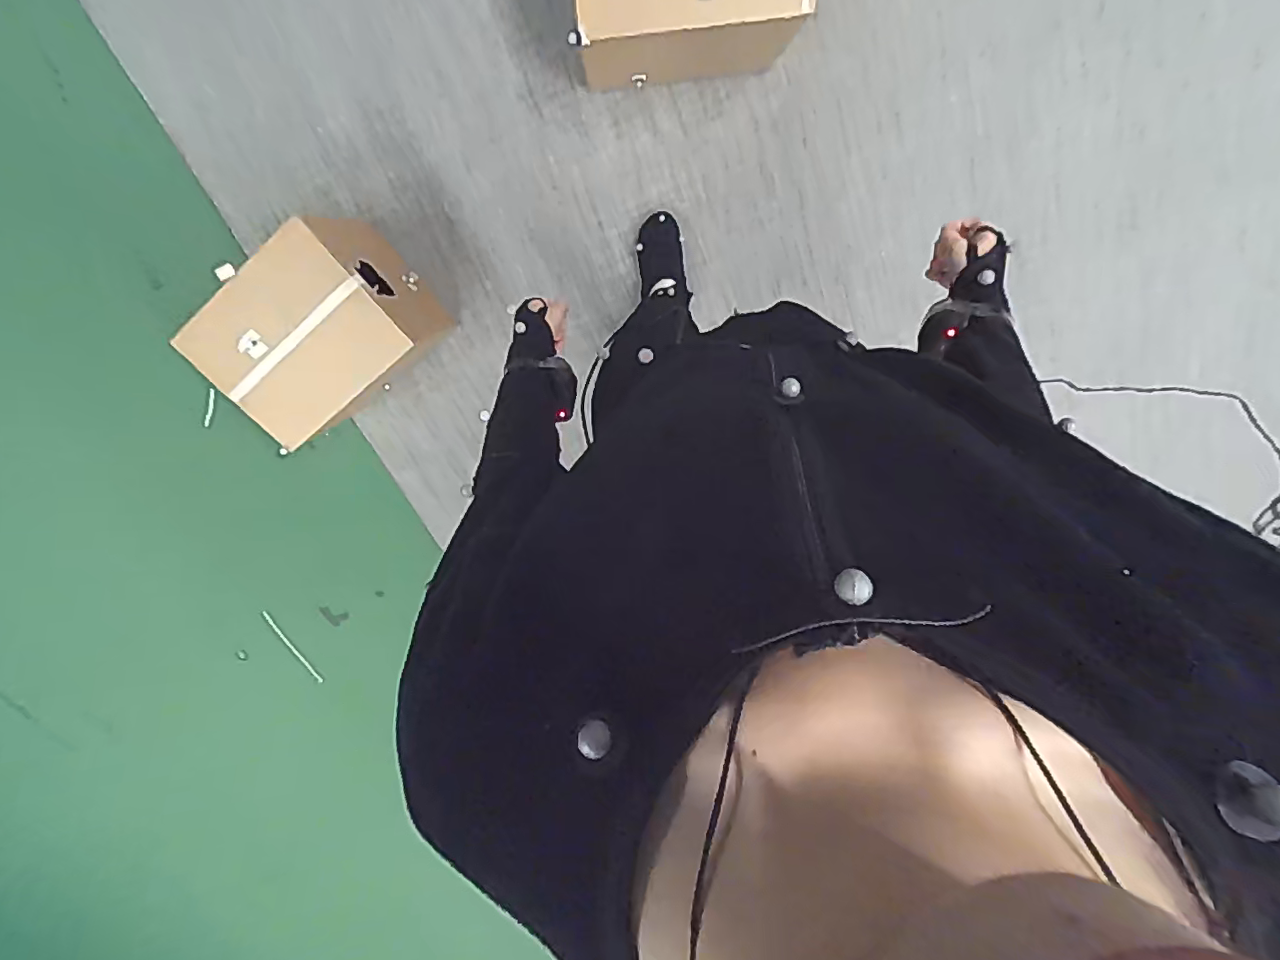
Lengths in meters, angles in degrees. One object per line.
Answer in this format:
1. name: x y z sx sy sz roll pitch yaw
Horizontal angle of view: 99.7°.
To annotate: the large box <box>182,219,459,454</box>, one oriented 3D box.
1. large box: -0.705 -0.339 1.254 0.408 0.320 0.320 -35 108 14
